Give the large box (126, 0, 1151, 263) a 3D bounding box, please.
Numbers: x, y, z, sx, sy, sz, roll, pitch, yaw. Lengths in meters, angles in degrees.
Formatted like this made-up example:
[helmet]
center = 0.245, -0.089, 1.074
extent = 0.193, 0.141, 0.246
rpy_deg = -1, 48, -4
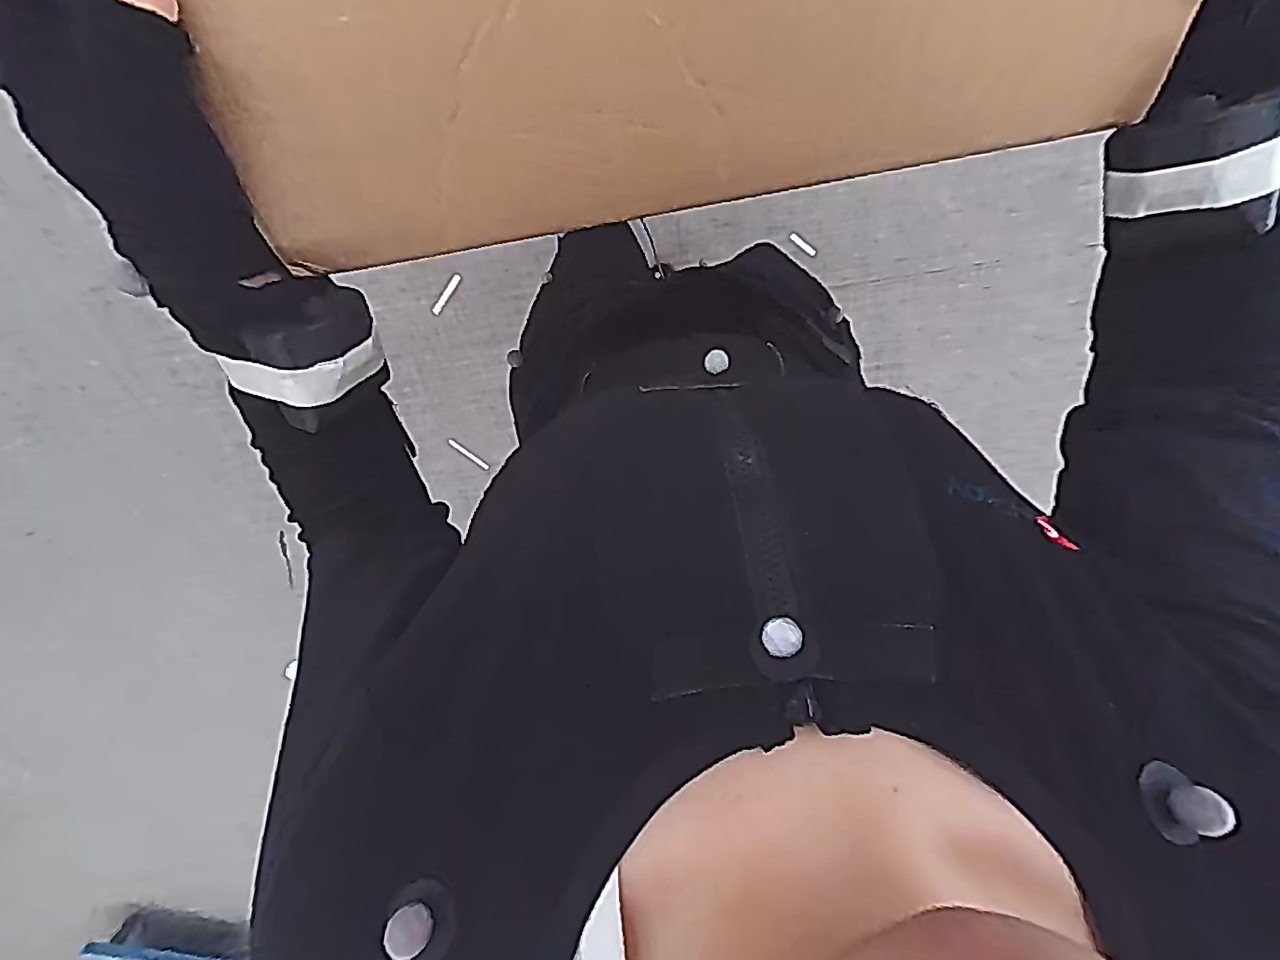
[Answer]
[large box]
center = -0.010, -0.352, 0.245
extent = 0.408, 0.320, 0.320
rpy_deg = -10, 138, 2
